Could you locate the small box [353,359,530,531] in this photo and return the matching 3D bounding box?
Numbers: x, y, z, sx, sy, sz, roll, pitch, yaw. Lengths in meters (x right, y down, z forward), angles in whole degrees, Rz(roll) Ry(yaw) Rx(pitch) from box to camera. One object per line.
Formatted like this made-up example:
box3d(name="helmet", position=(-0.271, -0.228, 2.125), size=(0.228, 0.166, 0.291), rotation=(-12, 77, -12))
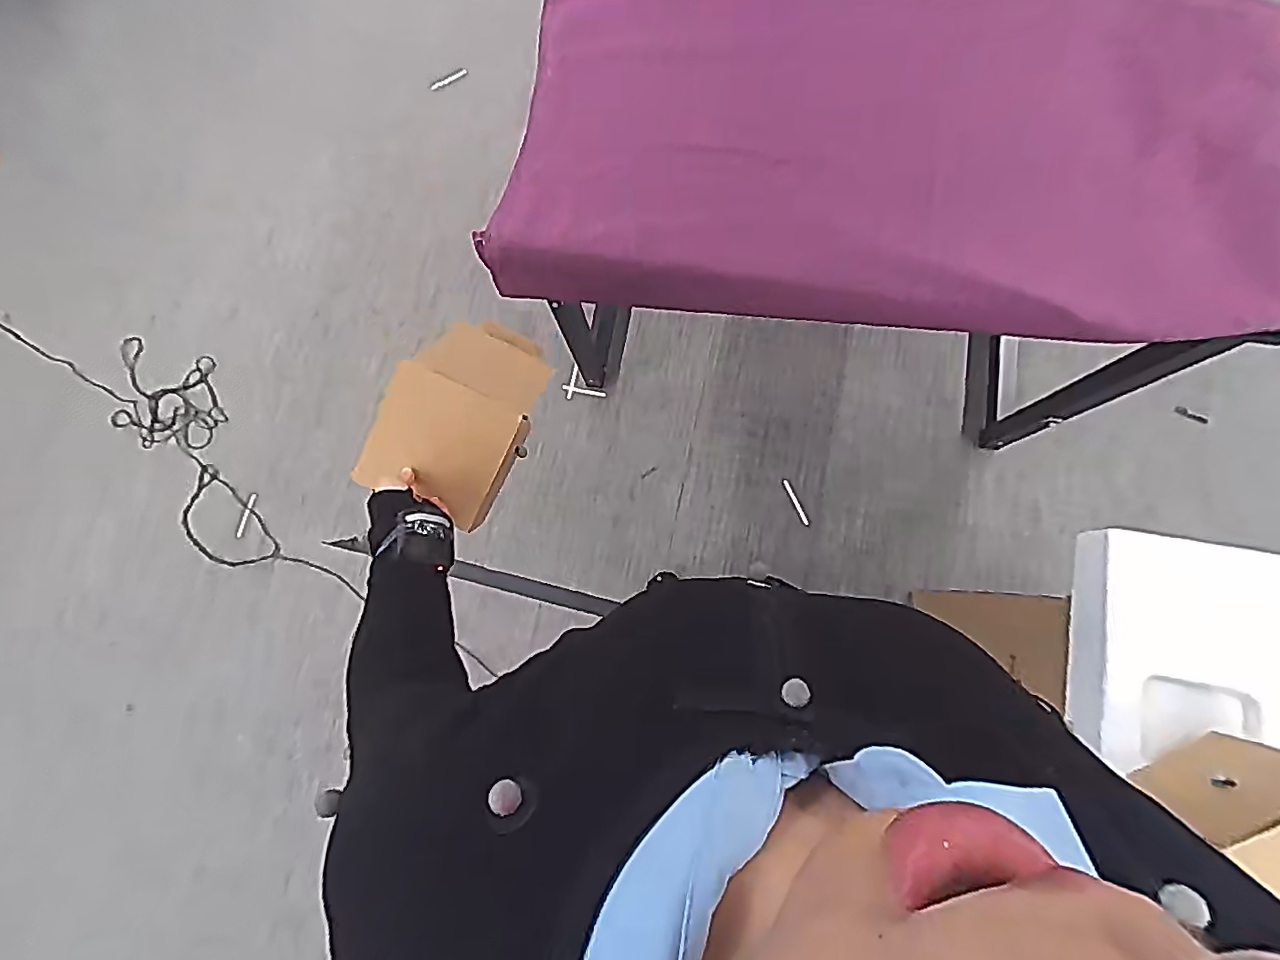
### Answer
box3d(name="small box", position=(-0.272, -0.046, 0.783), size=(0.168, 0.176, 0.179), rotation=(27, 86, -9))
